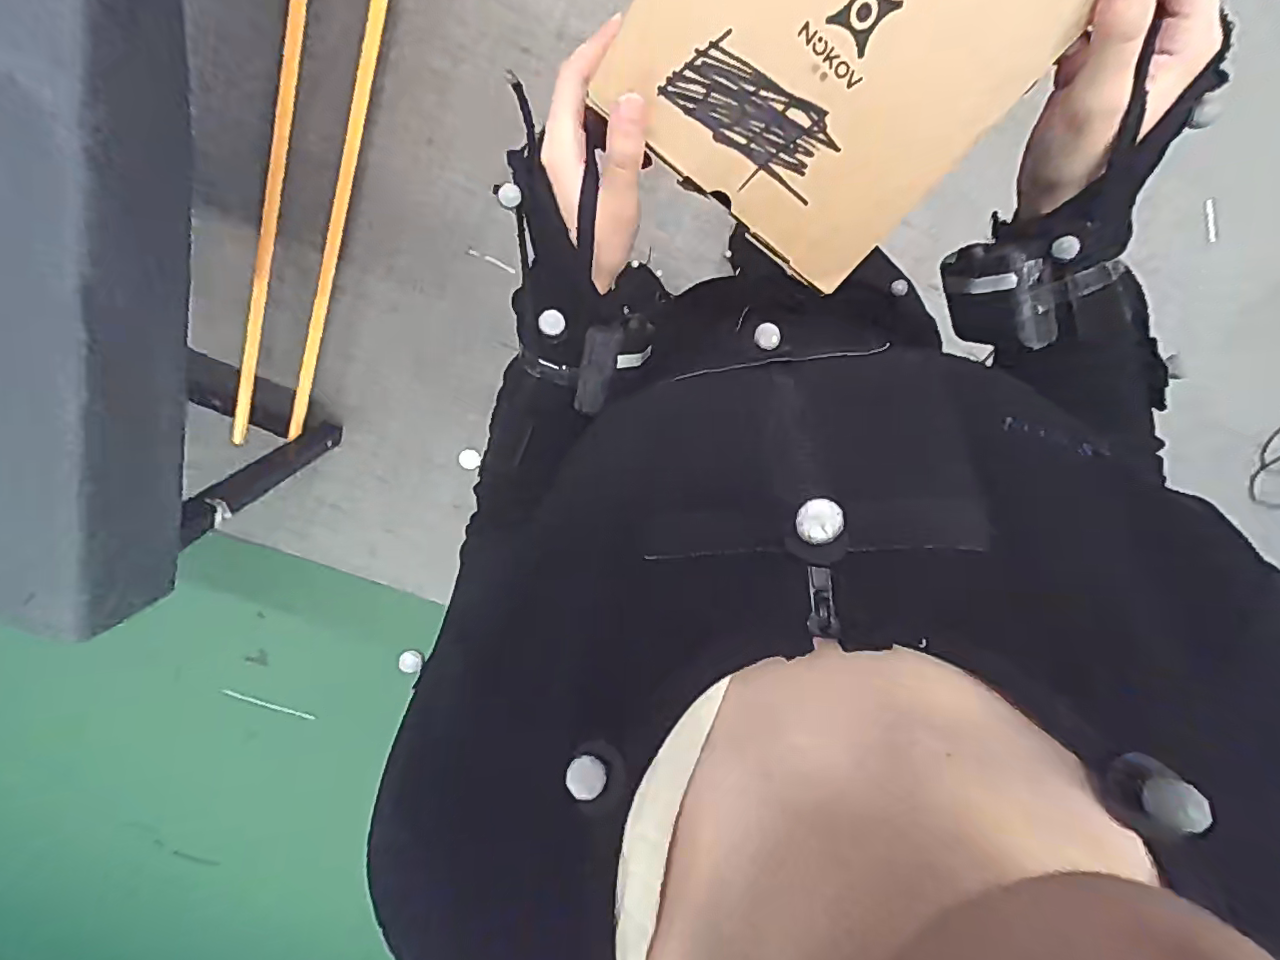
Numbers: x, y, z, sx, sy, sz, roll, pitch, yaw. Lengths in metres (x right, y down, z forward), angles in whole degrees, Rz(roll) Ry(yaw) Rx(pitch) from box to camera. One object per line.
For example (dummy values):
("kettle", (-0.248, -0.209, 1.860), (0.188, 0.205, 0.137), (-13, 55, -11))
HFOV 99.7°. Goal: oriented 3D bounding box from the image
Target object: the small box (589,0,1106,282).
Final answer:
("small box", (0.095, -0.252, 0.294), (0.168, 0.176, 0.179), (29, 127, -20))
